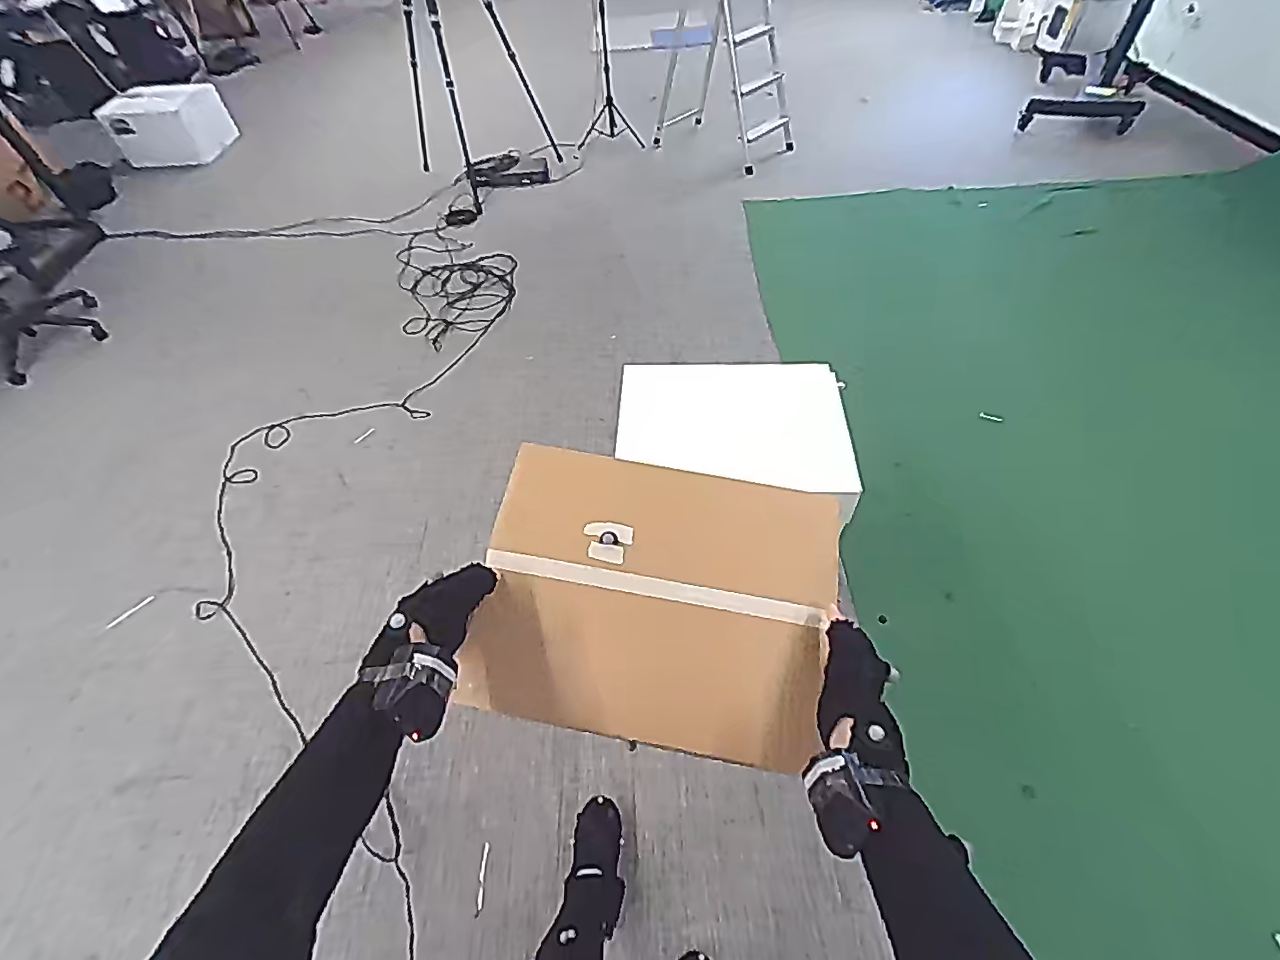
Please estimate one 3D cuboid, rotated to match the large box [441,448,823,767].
[{"bbox_3d":[0.010,0.184,0.756,0.408,0.320,0.320,9,66,5],"label":"large box"}]
